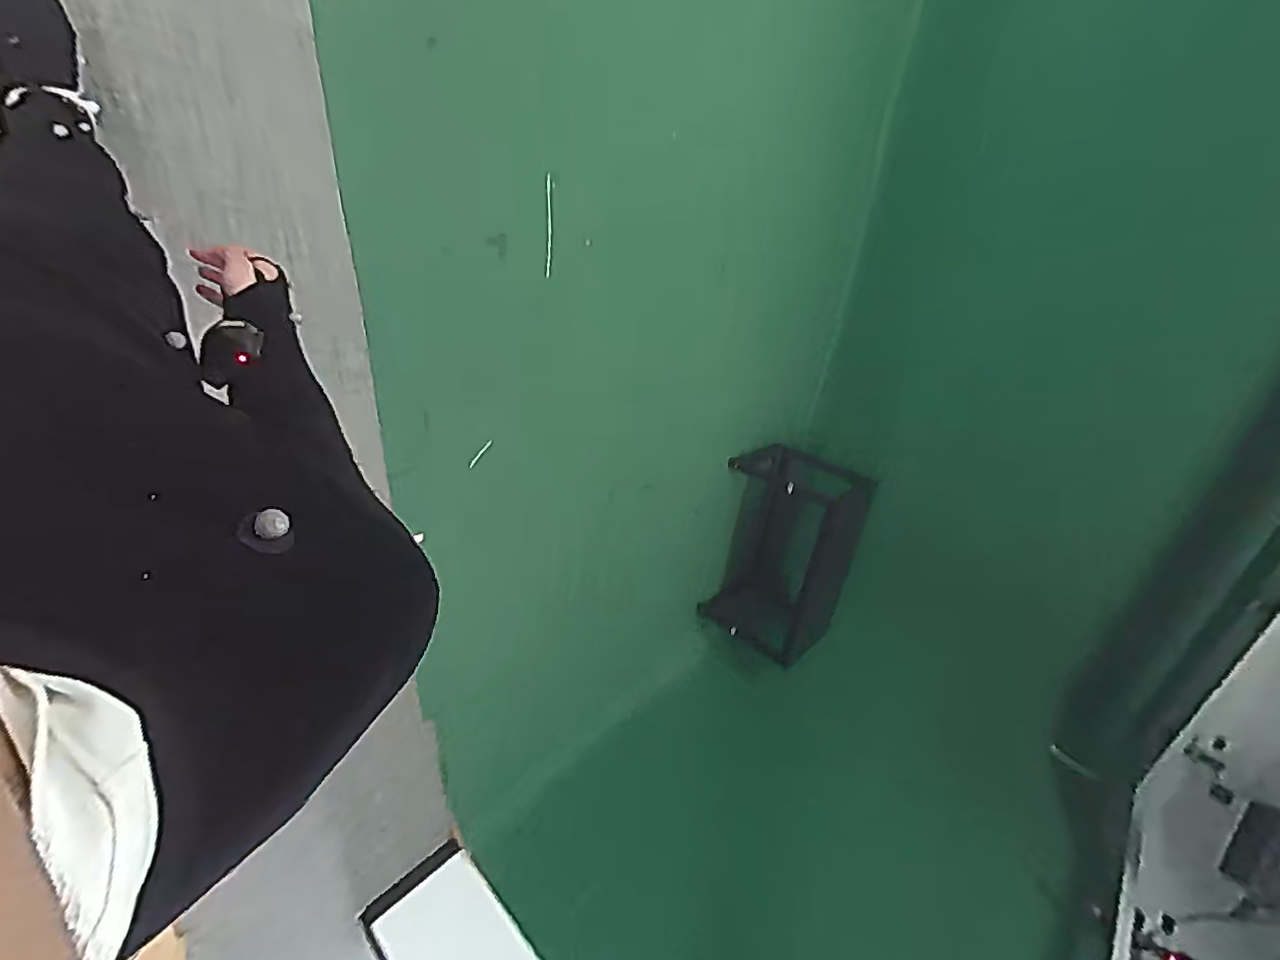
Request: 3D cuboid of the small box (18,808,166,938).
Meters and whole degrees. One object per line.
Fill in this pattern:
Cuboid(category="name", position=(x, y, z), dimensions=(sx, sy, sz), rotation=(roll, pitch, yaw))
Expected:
Cuboid(category="small box", position=(-1.091, 0.808, 1.077), dimensions=(0.179, 0.176, 0.168), rotation=(-17, 124, -45))

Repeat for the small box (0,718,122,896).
Cuboid(category="small box", position=(-1.063, 0.566, 0.949), dimensions=(0.179, 0.176, 0.168), rotation=(-22, 129, -44))

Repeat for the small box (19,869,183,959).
Cuboid(category="small box", position=(-0.972, 0.870, 0.983), dimensions=(0.179, 0.176, 0.168), rotation=(-19, 125, -46))
